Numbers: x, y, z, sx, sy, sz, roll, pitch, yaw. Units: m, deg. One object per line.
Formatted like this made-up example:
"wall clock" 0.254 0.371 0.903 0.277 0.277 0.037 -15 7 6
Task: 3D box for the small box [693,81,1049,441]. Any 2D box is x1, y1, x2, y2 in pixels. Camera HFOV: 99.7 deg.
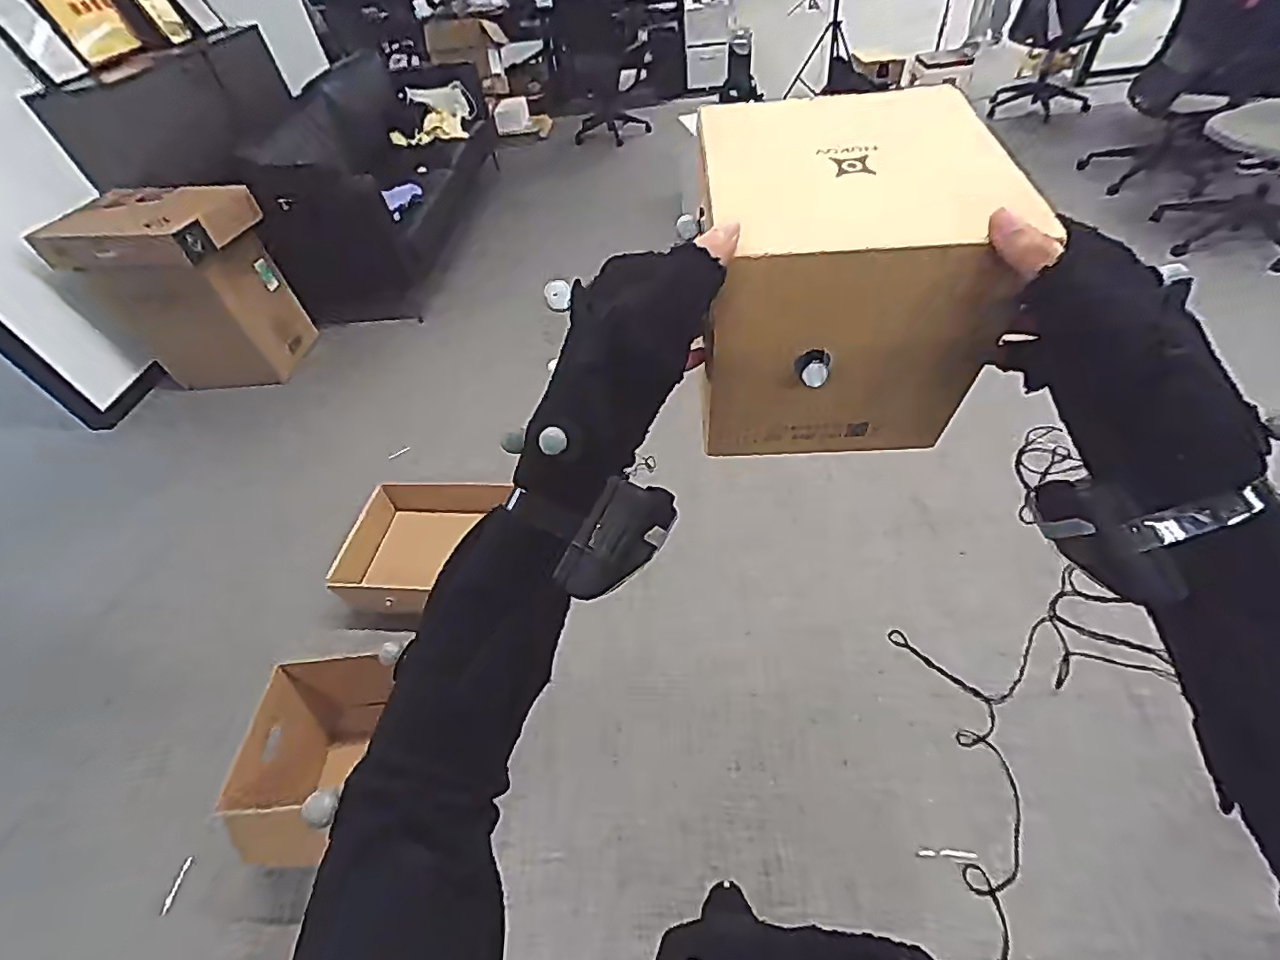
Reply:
"small box" 0.123 -0.138 0.375 0.168 0.176 0.179 -2 55 4
